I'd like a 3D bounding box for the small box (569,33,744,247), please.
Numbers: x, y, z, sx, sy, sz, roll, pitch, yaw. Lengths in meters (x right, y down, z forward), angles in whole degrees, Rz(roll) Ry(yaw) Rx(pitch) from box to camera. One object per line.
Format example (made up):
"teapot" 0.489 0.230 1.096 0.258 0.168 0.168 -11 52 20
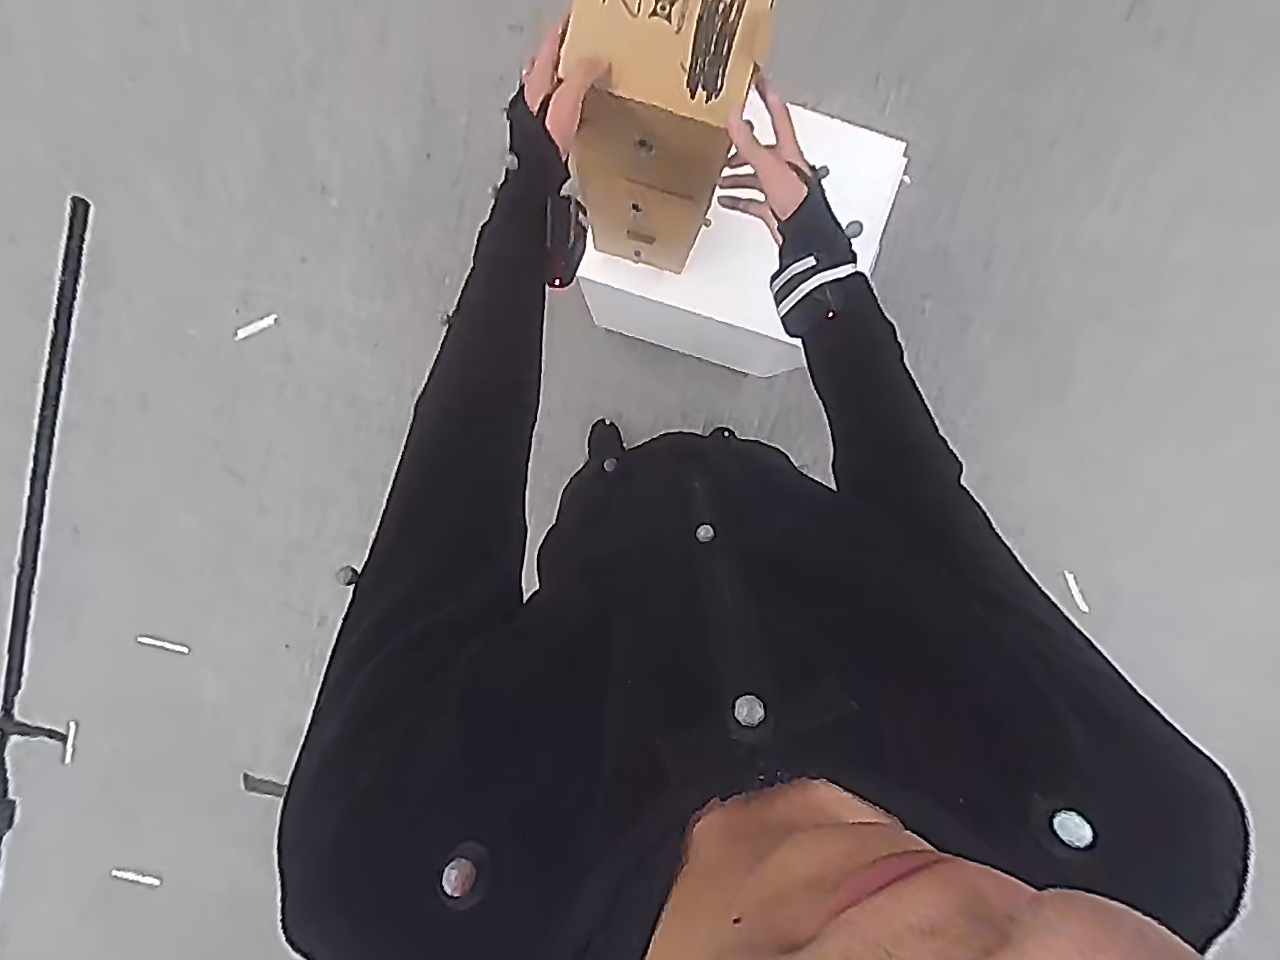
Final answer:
"small box" 0.018 -0.435 0.727 0.179 0.176 0.168 16 96 -2

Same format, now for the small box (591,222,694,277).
"small box" 0.018 -0.460 0.889 0.168 0.176 0.179 15 97 -3
